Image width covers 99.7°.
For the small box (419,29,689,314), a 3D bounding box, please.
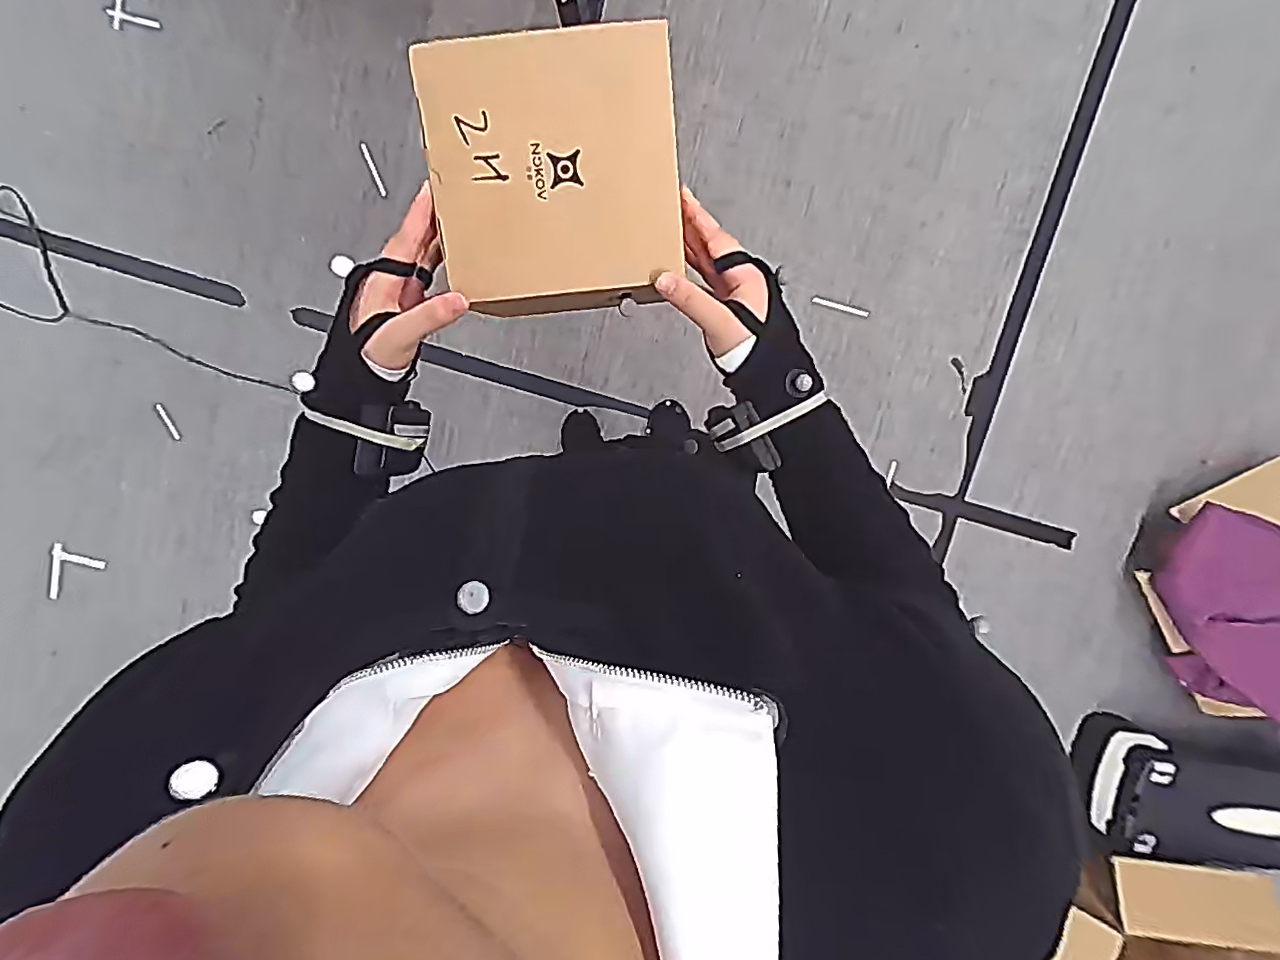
[{"bbox_3d":[-0.059,-0.236,0.458,0.179,0.176,0.168,-5,103,0],"label":"small box"}]
